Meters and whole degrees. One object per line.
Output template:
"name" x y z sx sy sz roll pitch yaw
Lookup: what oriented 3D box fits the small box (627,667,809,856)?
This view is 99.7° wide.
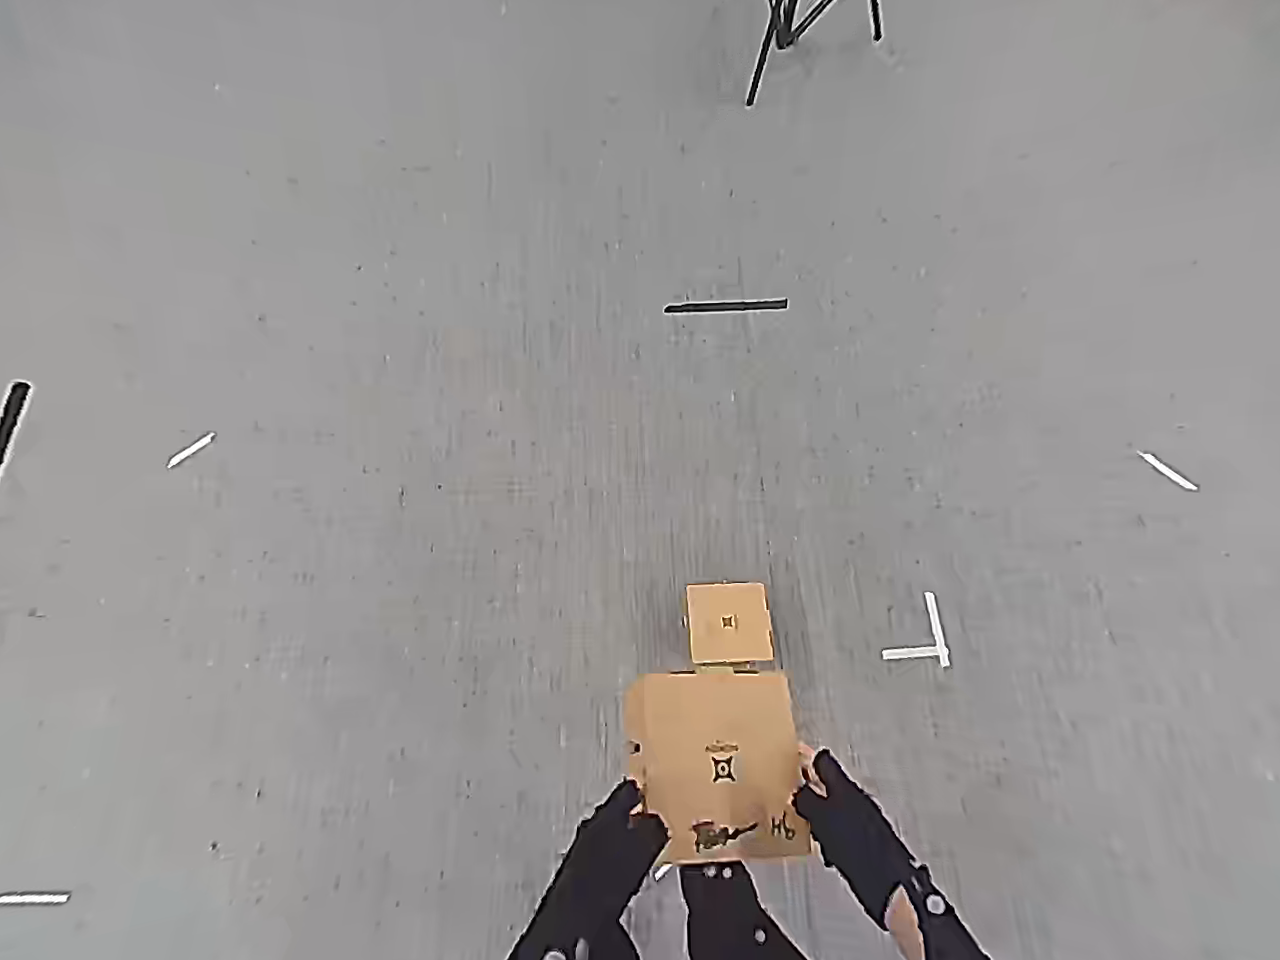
"small box" 0.075 0.327 0.633 0.168 0.176 0.179 3 61 -7

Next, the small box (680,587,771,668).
"small box" 0.188 0.340 1.237 0.179 0.176 0.168 -3 70 0
